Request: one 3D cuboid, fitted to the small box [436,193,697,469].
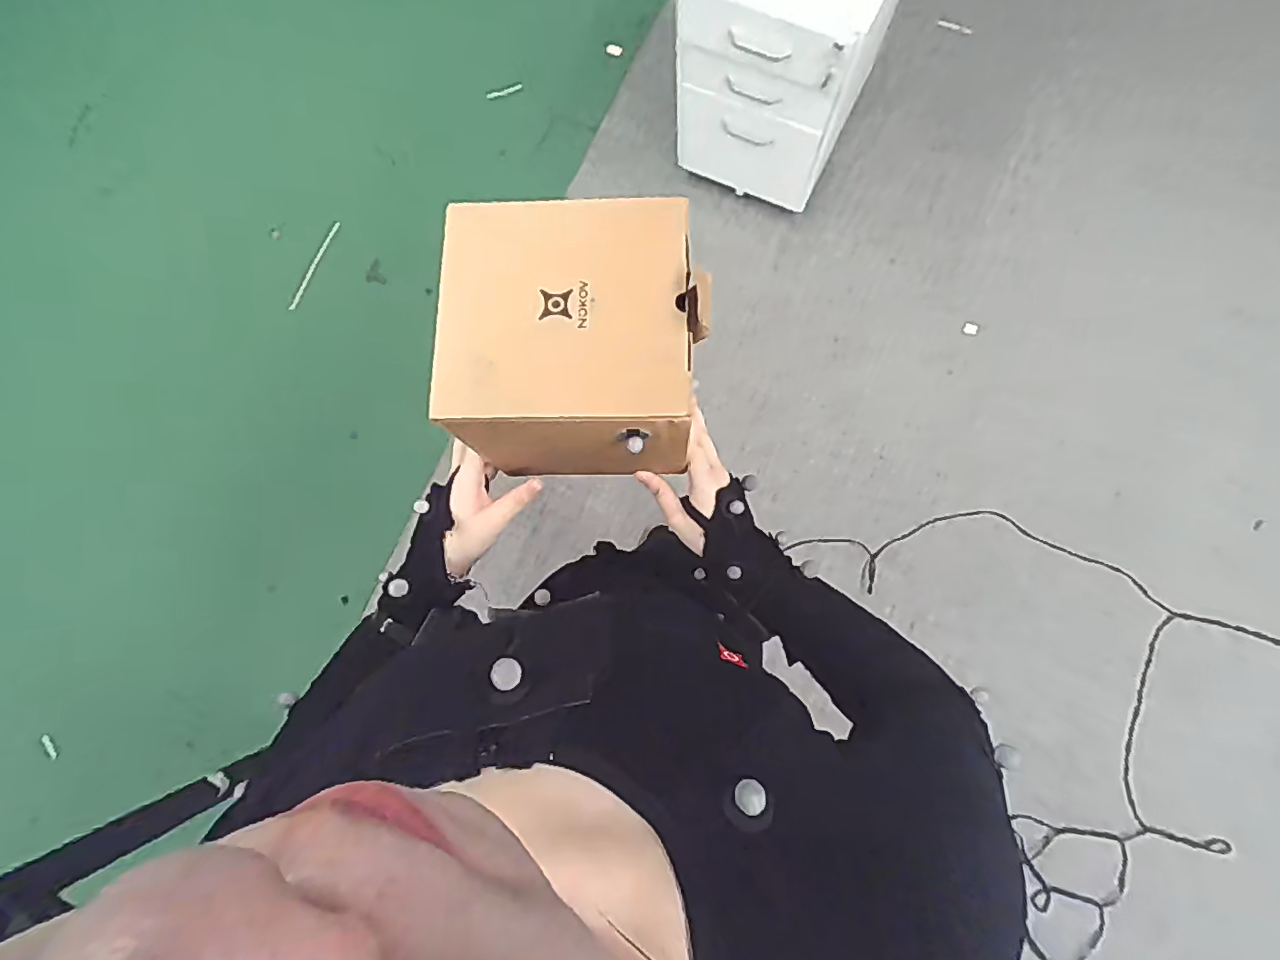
[{"bbox_3d":[-0.044,-0.106,0.448,0.179,0.176,0.168,0,78,2],"label":"small box"}]
